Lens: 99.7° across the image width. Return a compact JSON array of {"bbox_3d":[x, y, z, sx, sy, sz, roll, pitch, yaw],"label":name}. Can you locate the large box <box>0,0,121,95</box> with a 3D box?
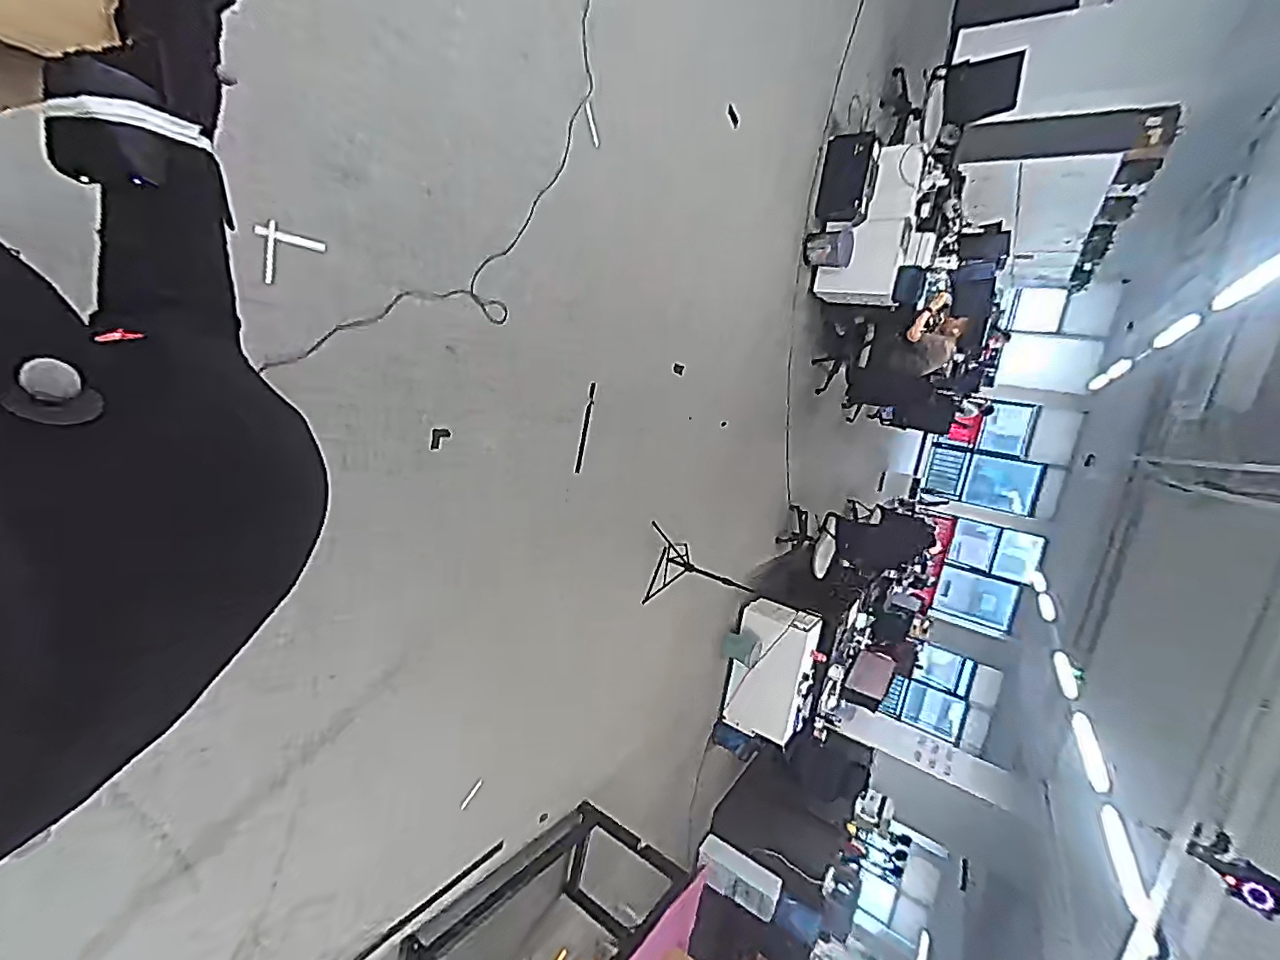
[{"bbox_3d":[-0.549,-0.428,0.225,0.408,0.320,0.320,-13,118,-59],"label":"large box"}]
